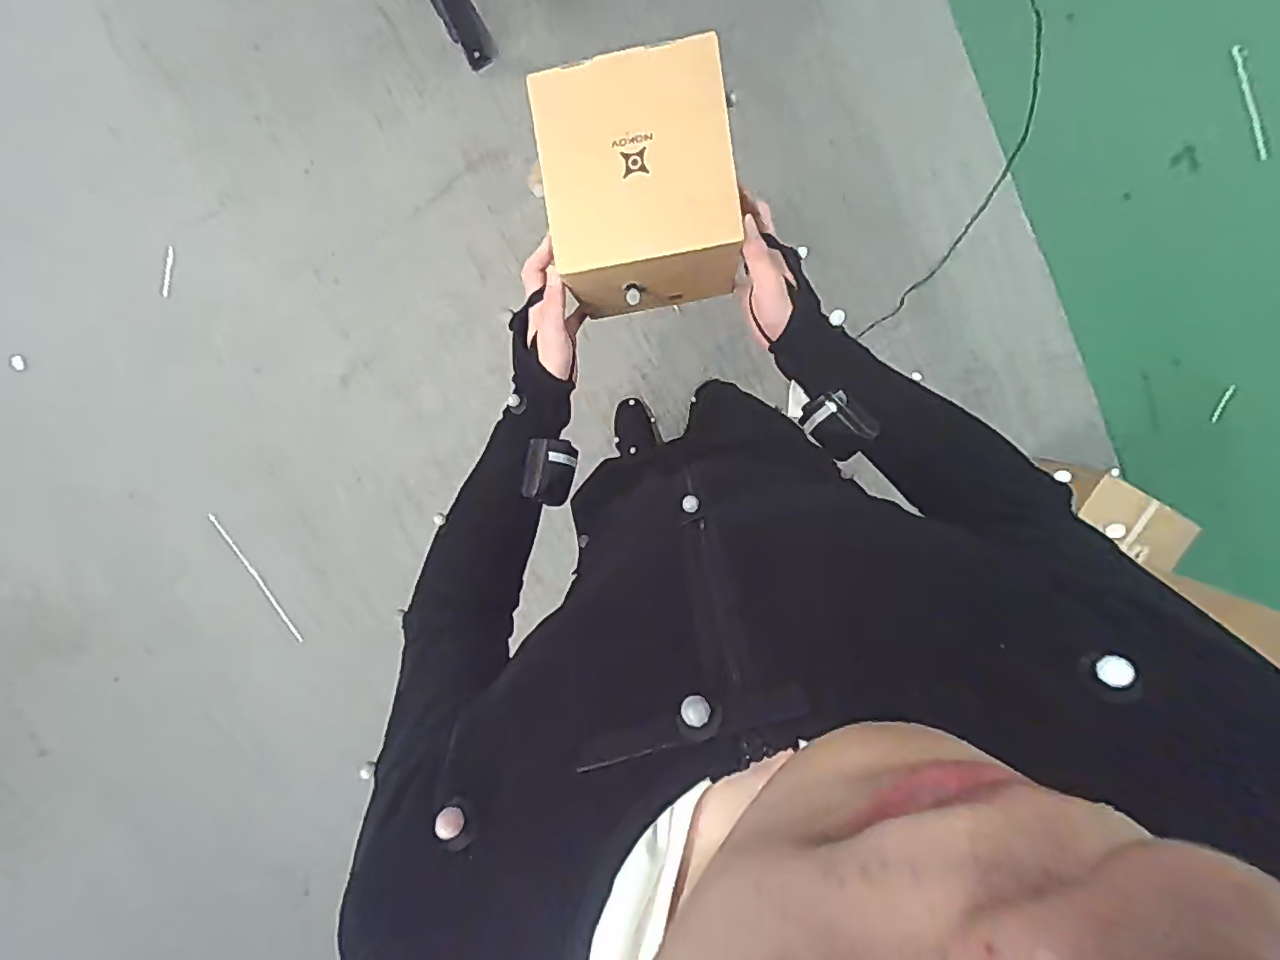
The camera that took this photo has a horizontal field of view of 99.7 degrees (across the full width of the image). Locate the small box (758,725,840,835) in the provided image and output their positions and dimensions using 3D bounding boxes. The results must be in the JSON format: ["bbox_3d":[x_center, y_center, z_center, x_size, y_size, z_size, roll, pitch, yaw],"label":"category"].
[{"bbox_3d":[0.408,0.763,1.387,0.168,0.176,0.179,-8,99,0],"label":"small box"}]

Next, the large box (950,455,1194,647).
[{"bbox_3d":[1.198,0.184,1.546,0.320,0.320,0.408,28,97,-7],"label":"large box"}]

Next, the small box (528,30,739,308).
[{"bbox_3d":[0.004,-0.282,0.539,0.168,0.176,0.179,-8,92,6],"label":"small box"}]
